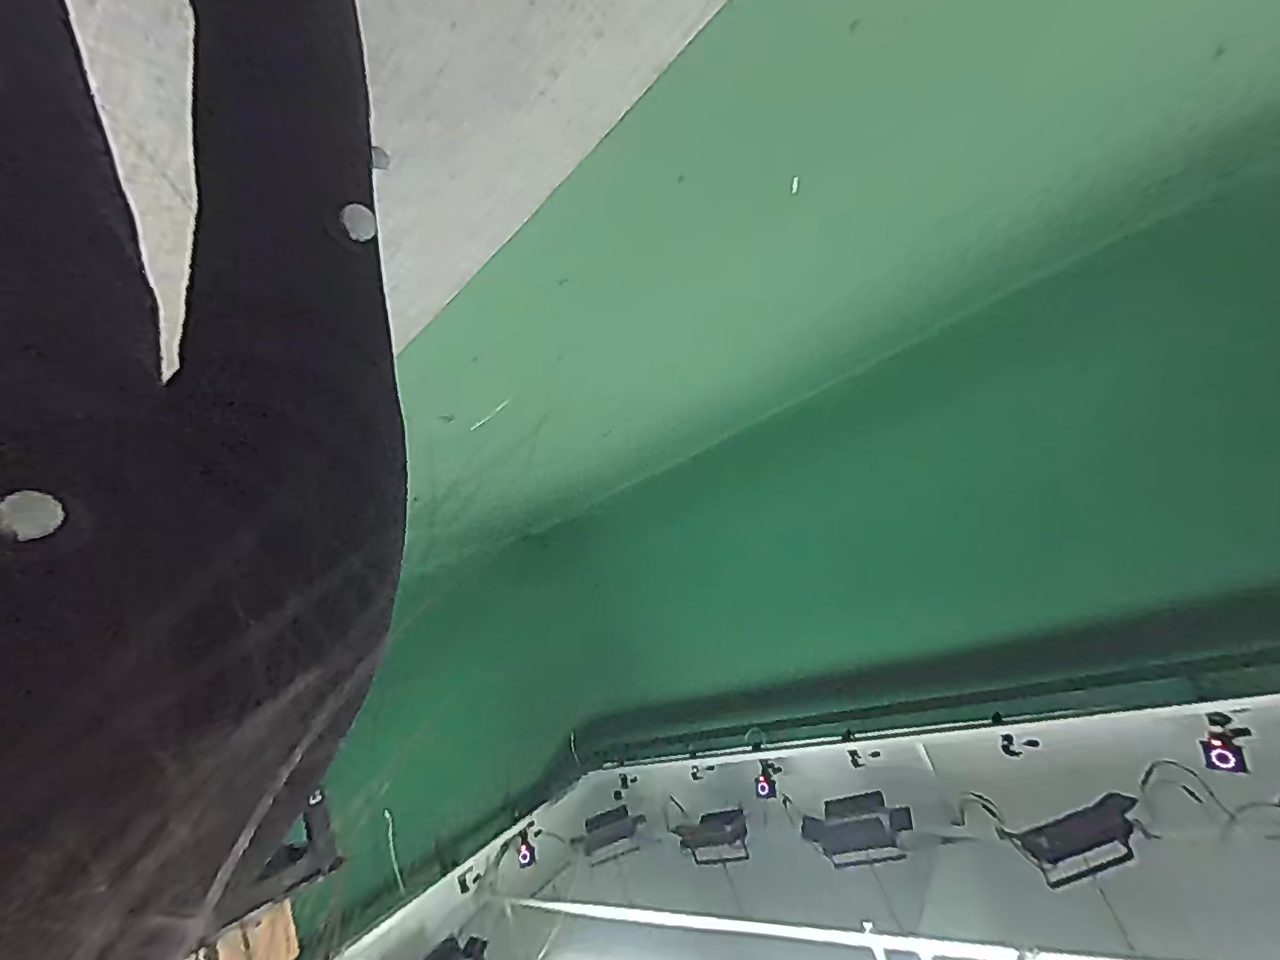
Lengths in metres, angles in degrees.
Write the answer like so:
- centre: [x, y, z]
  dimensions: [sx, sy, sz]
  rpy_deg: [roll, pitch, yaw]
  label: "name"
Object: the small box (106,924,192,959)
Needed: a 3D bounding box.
- centre: [-1.235, 1.251, 1.341]
  dimensions: [0.179, 0.176, 0.168]
  rpy_deg: [-26, 168, 34]
  label: "small box"
